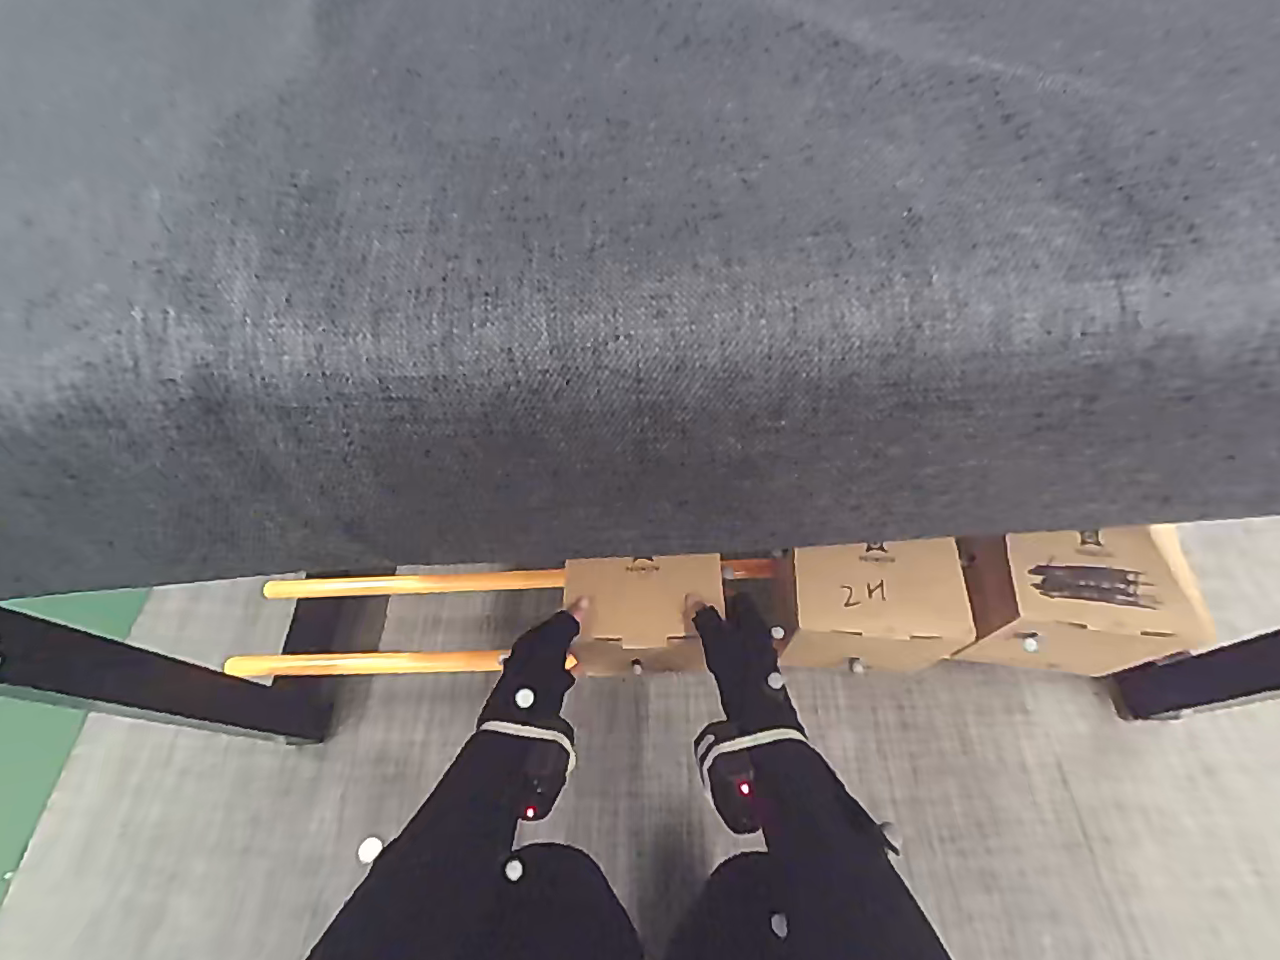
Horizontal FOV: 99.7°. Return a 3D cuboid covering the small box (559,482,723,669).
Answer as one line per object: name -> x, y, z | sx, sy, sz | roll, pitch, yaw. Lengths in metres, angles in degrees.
small box -> 0.004, 0.118, 0.642 | 0.168, 0.176, 0.179 | -2, 61, 2
